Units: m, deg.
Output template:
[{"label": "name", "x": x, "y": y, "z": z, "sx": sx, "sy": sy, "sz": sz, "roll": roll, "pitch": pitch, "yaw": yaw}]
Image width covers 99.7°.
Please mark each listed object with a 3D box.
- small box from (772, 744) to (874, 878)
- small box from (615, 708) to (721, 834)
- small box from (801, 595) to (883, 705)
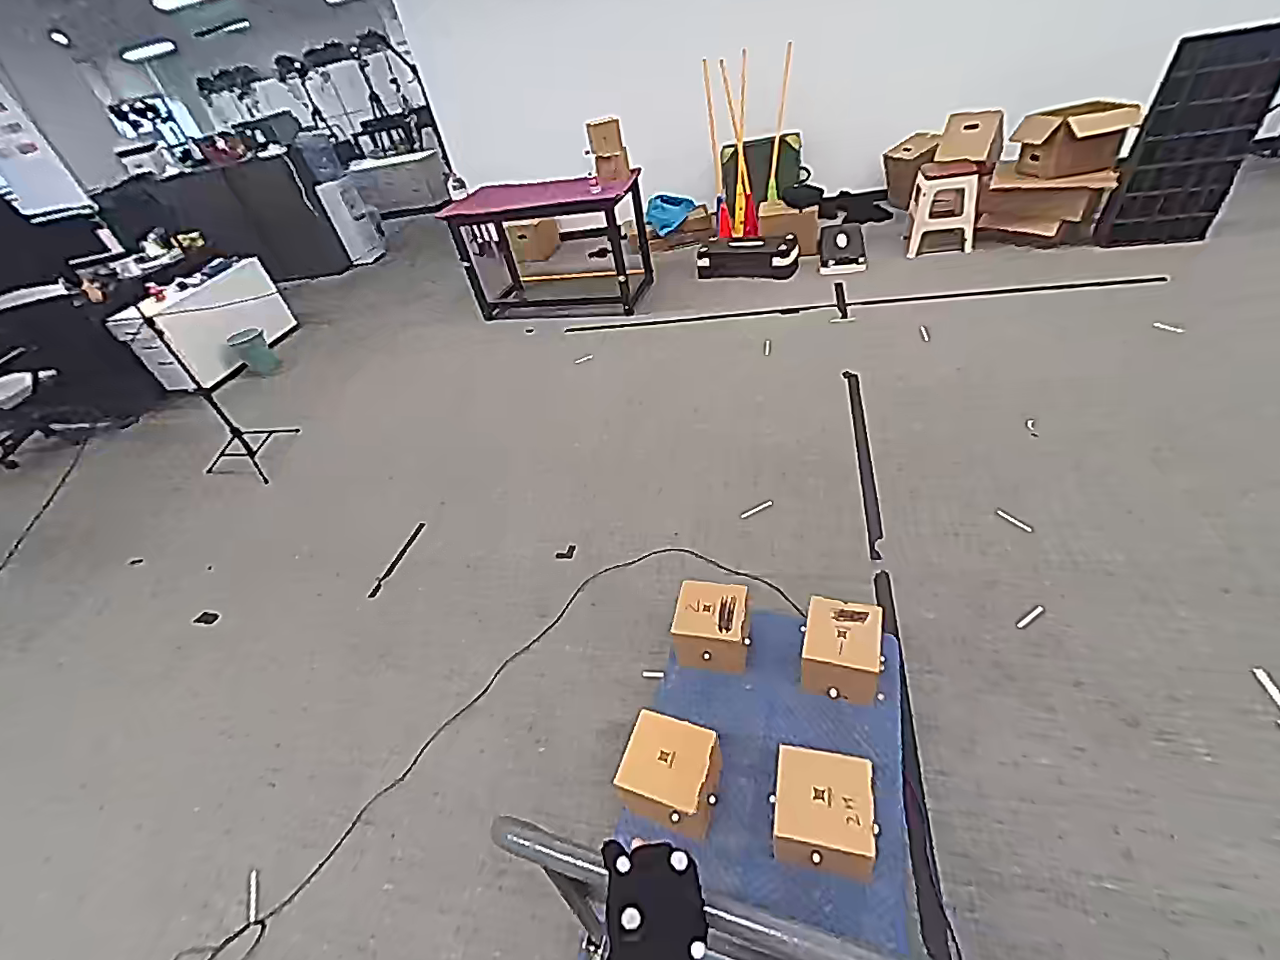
[{"label": "small box", "x": 0.359, "y": 0.653, "z": 1.069, "sx": 0.179, "sy": 0.176, "sz": 0.168, "roll": 3, "pitch": 43, "yaw": 18}, {"label": "small box", "x": 0.068, "y": 0.632, "z": 1.172, "sx": 0.179, "sy": 0.176, "sz": 0.168, "roll": 9, "pitch": 44, "yaw": 21}, {"label": "small box", "x": 0.488, "y": 0.412, "z": 1.314, "sx": 0.168, "sy": 0.176, "sz": 0.179, "roll": 6, "pitch": 45, "yaw": 22}]
